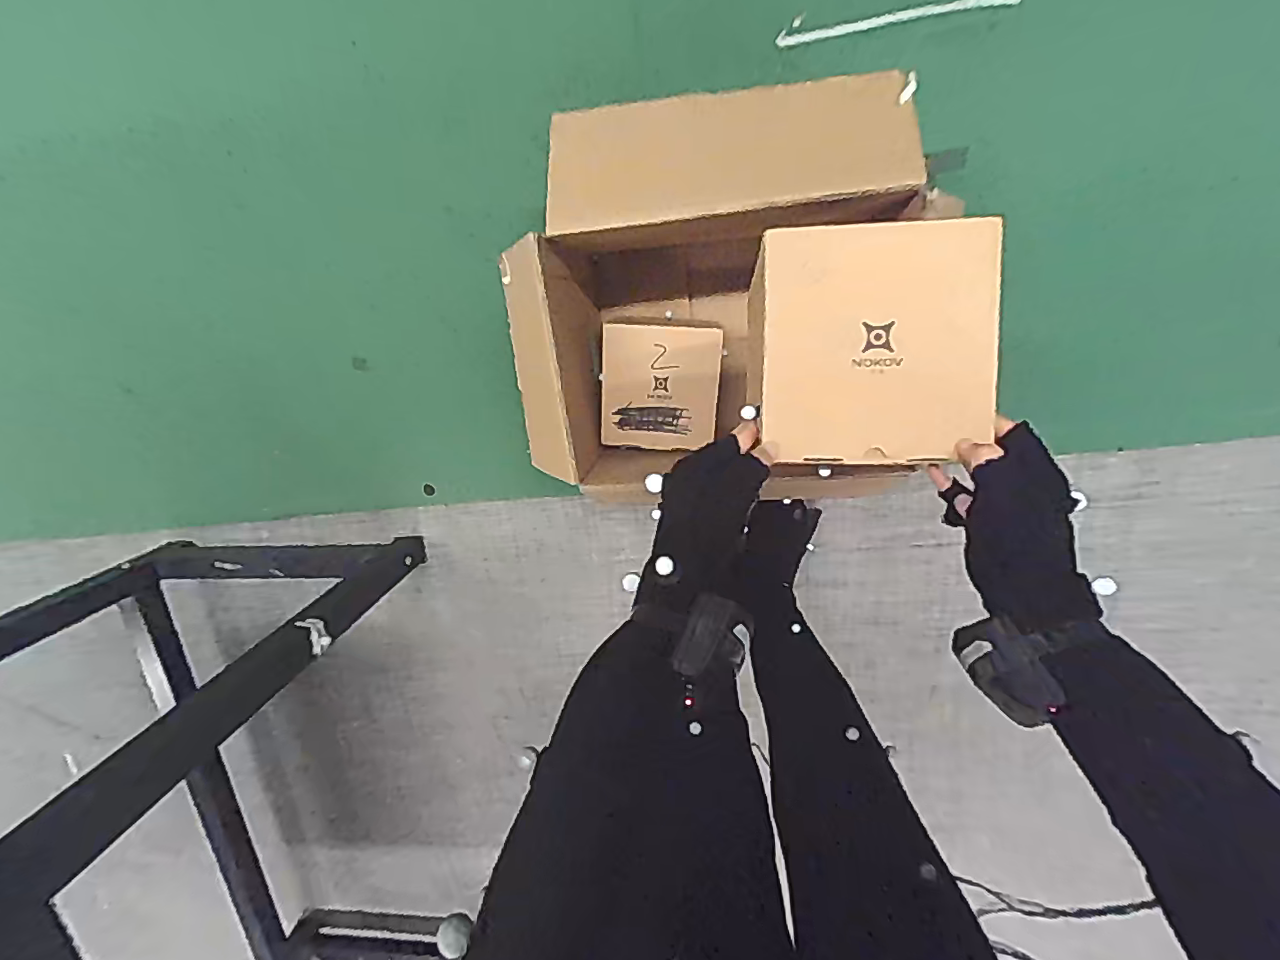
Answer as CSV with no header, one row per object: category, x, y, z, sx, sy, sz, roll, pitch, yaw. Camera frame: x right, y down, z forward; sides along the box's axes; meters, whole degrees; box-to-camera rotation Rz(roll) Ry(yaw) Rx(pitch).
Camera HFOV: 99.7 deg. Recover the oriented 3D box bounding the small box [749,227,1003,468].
small box,0.186,-0.101,0.479,0.168,0.176,0.179,1,94,7
